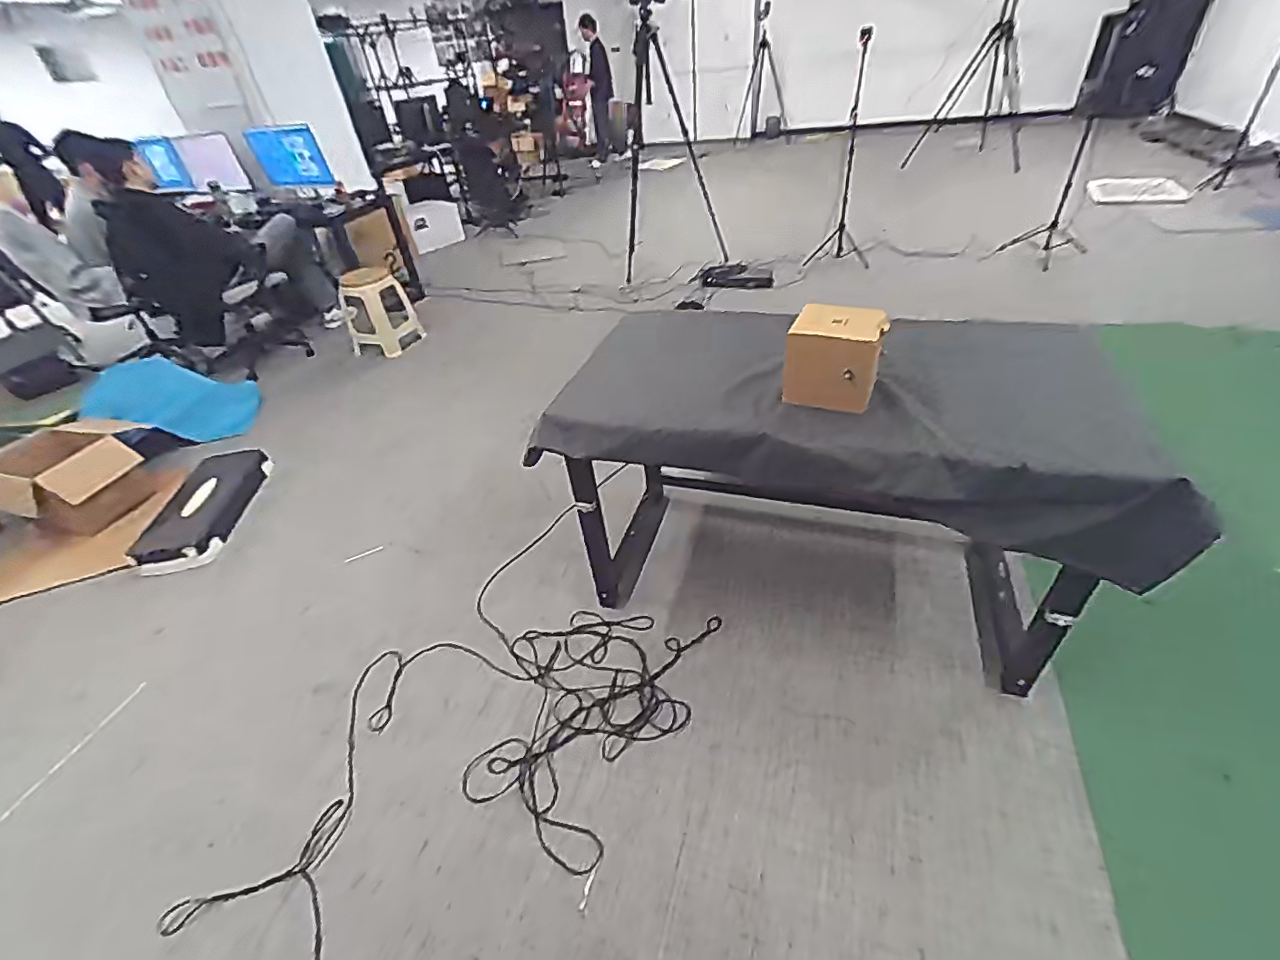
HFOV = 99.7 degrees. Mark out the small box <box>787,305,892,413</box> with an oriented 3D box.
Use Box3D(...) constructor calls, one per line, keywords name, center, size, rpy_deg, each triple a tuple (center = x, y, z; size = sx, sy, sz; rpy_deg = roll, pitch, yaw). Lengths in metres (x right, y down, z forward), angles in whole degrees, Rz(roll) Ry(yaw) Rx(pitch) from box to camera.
Box3D(name="small box", center=(0.427, -0.261, 1.168), size=(0.179, 0.176, 0.168), rpy_deg=(12, 41, 24))
